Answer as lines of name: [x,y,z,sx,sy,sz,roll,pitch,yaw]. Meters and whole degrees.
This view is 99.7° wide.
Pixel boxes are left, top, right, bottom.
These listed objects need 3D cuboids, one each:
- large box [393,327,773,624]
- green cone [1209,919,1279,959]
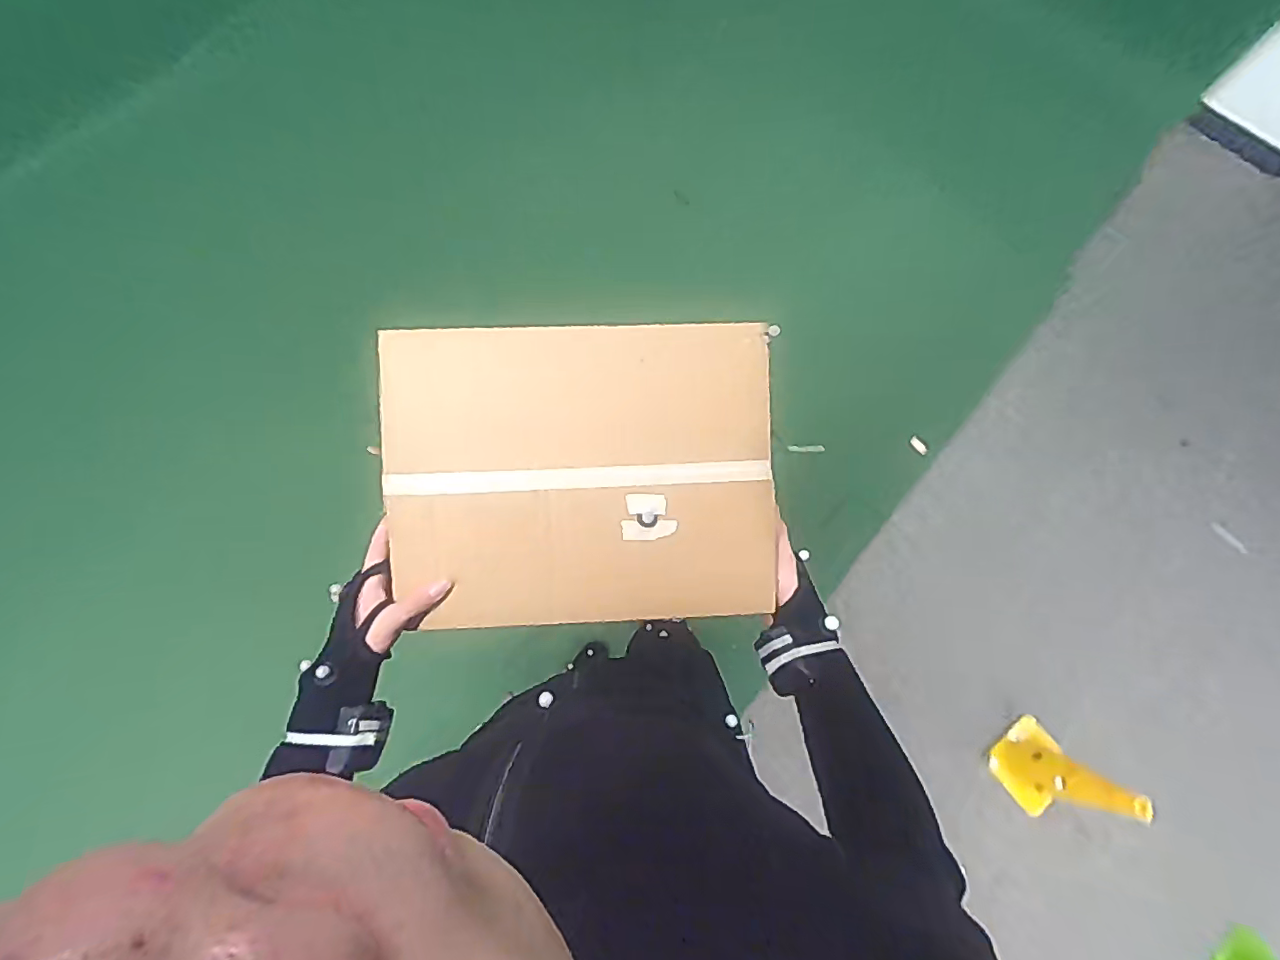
large box: [-0.066,-0.010,0.727,0.408,0.320,0.320,-1,93,-4]
green cone: [1.660,1.298,1.298,0.200,0.368,0.202,-42,80,-11]
